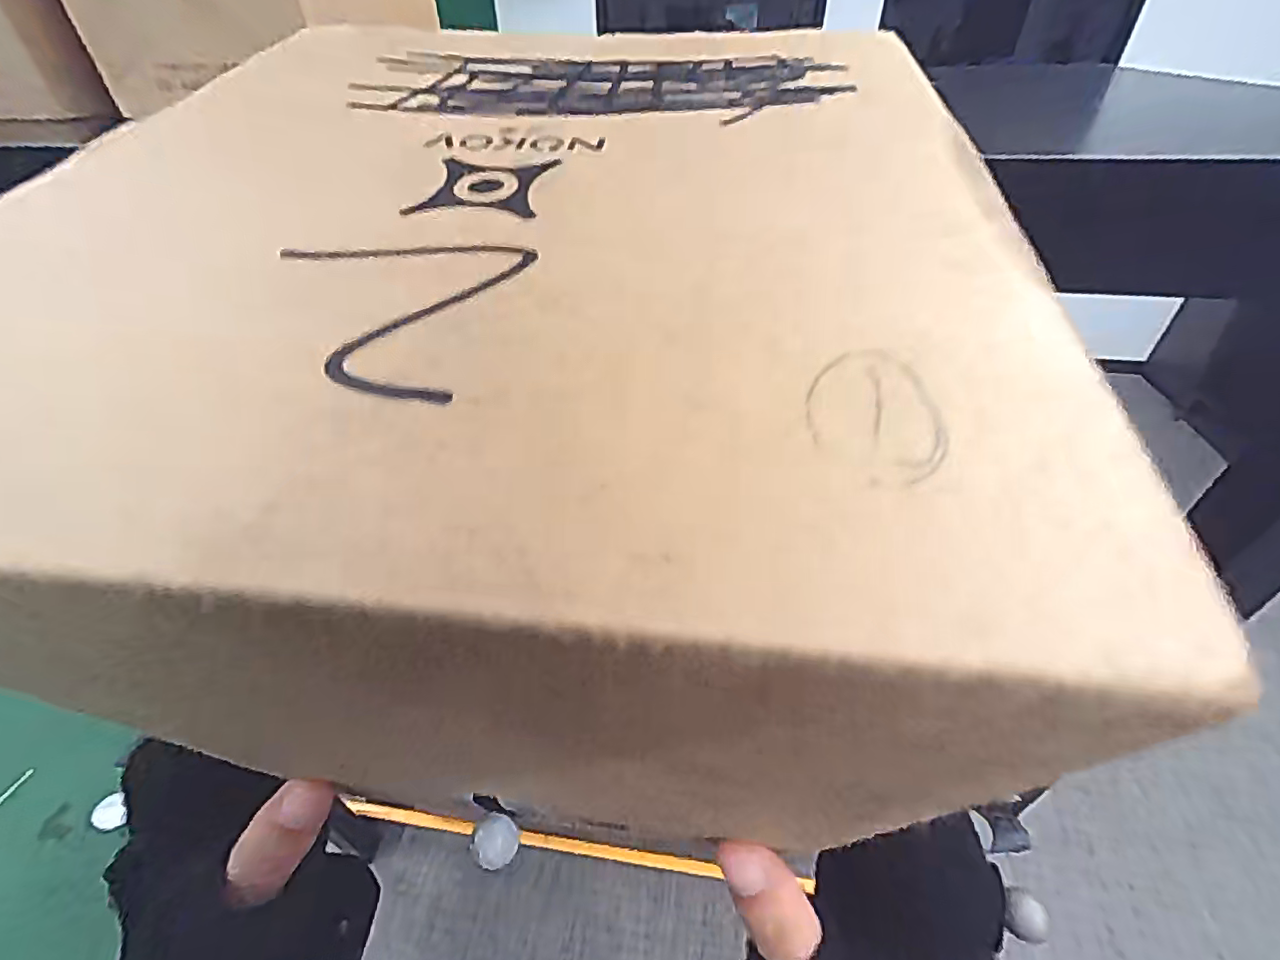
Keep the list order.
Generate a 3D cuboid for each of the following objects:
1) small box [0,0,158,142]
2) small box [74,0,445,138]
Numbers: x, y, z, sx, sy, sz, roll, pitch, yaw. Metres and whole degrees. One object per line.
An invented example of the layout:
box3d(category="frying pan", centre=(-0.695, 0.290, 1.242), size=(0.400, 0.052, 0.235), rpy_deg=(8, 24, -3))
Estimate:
box3d(category="small box", centre=(-0.456, -0.364, 0.399), size=(0.168, 0.176, 0.179), rpy_deg=(6, 41, 8))
box3d(category="small box", centre=(-0.261, -0.349, 0.380), size=(0.168, 0.176, 0.179), rpy_deg=(6, 40, 9))
